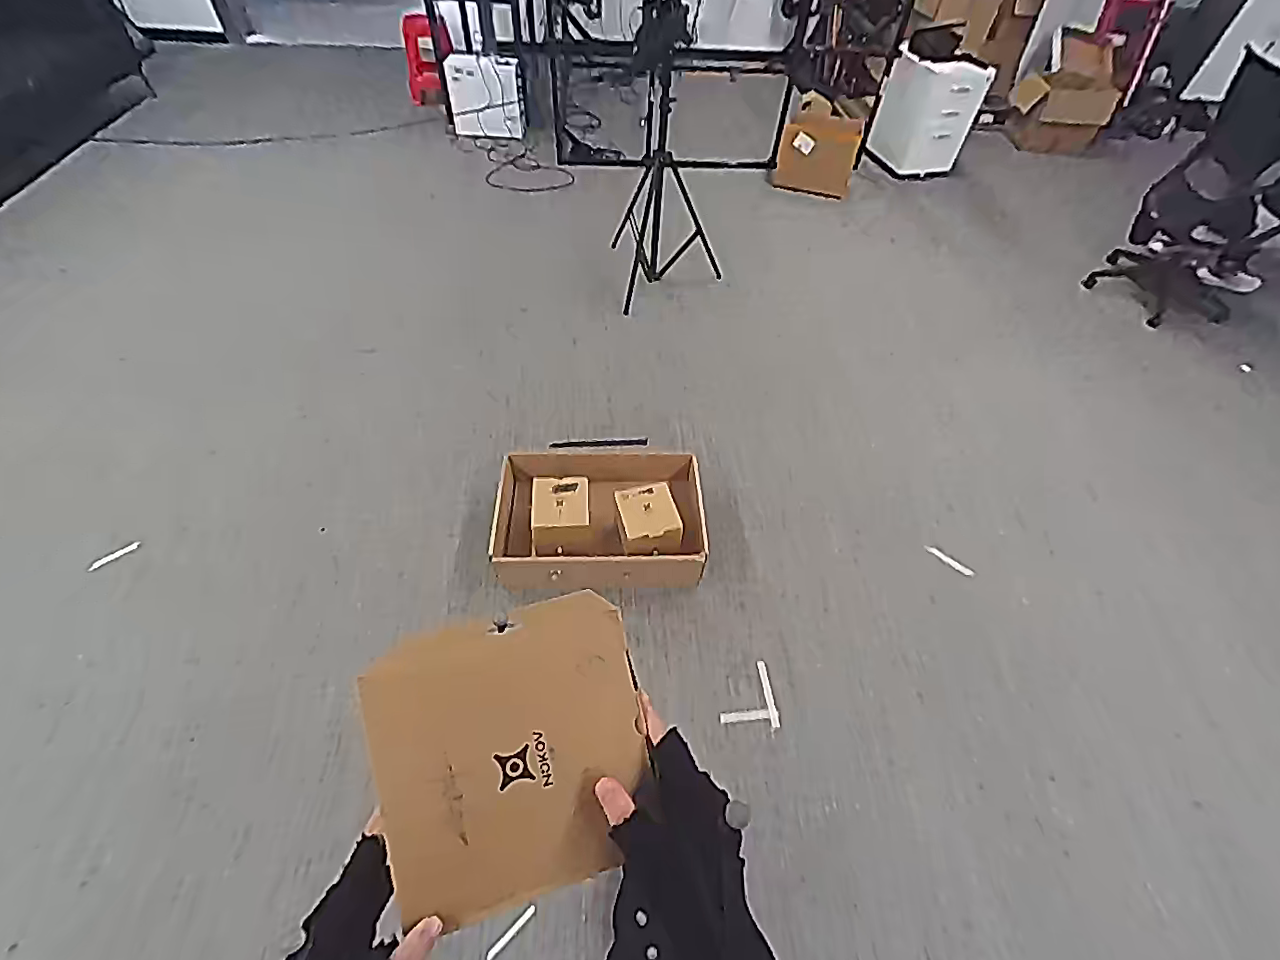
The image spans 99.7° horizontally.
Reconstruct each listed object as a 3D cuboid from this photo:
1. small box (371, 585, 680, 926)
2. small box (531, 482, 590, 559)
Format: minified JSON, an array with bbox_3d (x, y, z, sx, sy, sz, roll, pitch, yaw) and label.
[{"bbox_3d":[-0.089,0.186,0.432,0.179,0.176,0.168,-13,85,-14],"label":"small box"},{"bbox_3d":[-0.238,0.123,1.641,0.168,0.176,0.179,-2,51,-6],"label":"small box"}]
